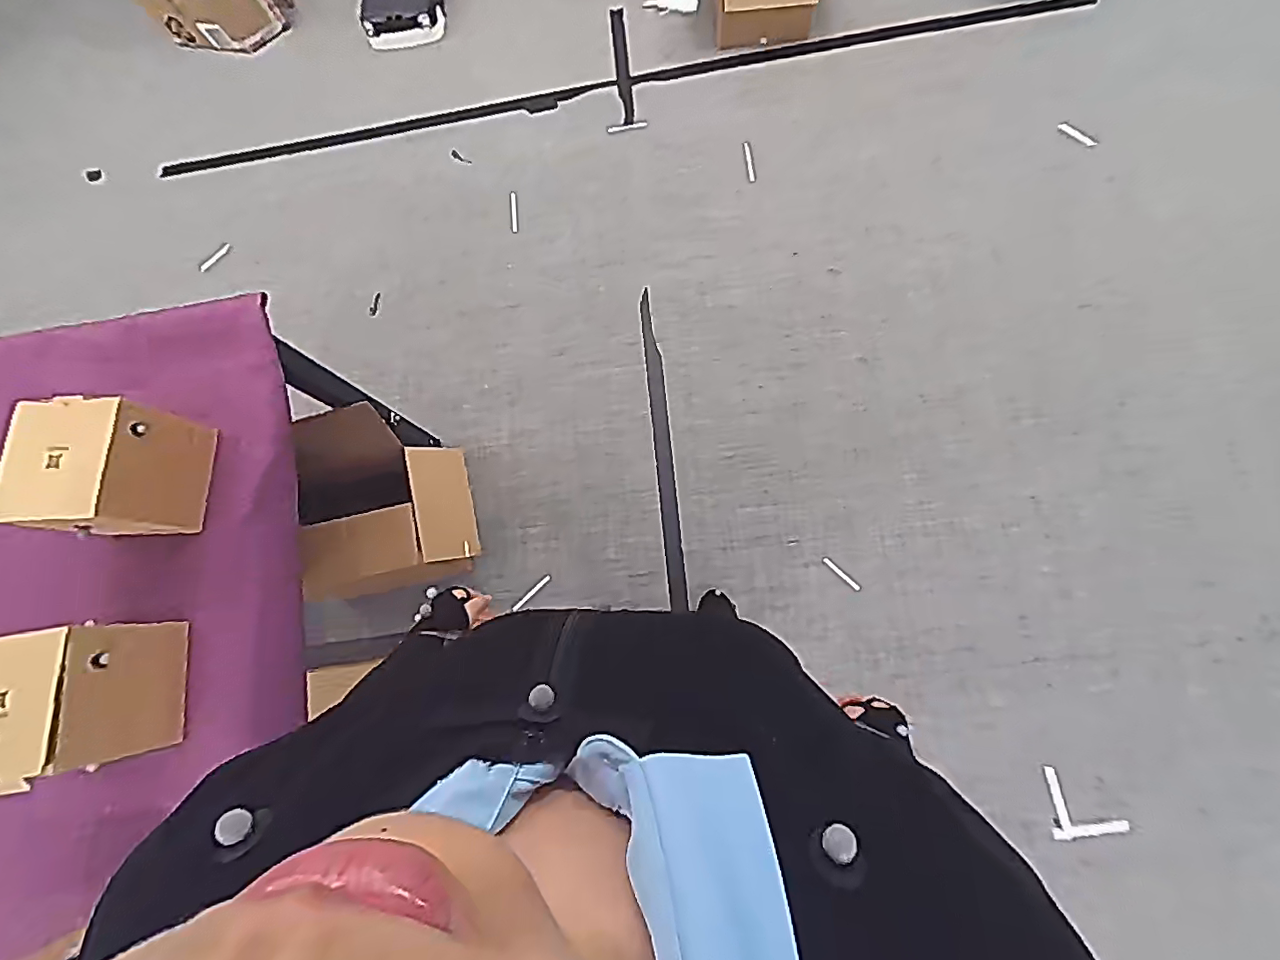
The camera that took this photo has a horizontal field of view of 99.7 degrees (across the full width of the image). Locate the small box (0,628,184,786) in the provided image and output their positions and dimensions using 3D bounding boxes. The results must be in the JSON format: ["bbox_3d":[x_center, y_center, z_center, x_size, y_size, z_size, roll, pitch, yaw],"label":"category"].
[{"bbox_3d":[-0.775,0.301,0.740,0.168,0.176,0.179,-10,76,6],"label":"small box"}]

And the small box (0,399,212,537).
[{"bbox_3d":[-0.797,-0.007,0.817,0.168,0.176,0.179,-3,76,5],"label":"small box"}]
